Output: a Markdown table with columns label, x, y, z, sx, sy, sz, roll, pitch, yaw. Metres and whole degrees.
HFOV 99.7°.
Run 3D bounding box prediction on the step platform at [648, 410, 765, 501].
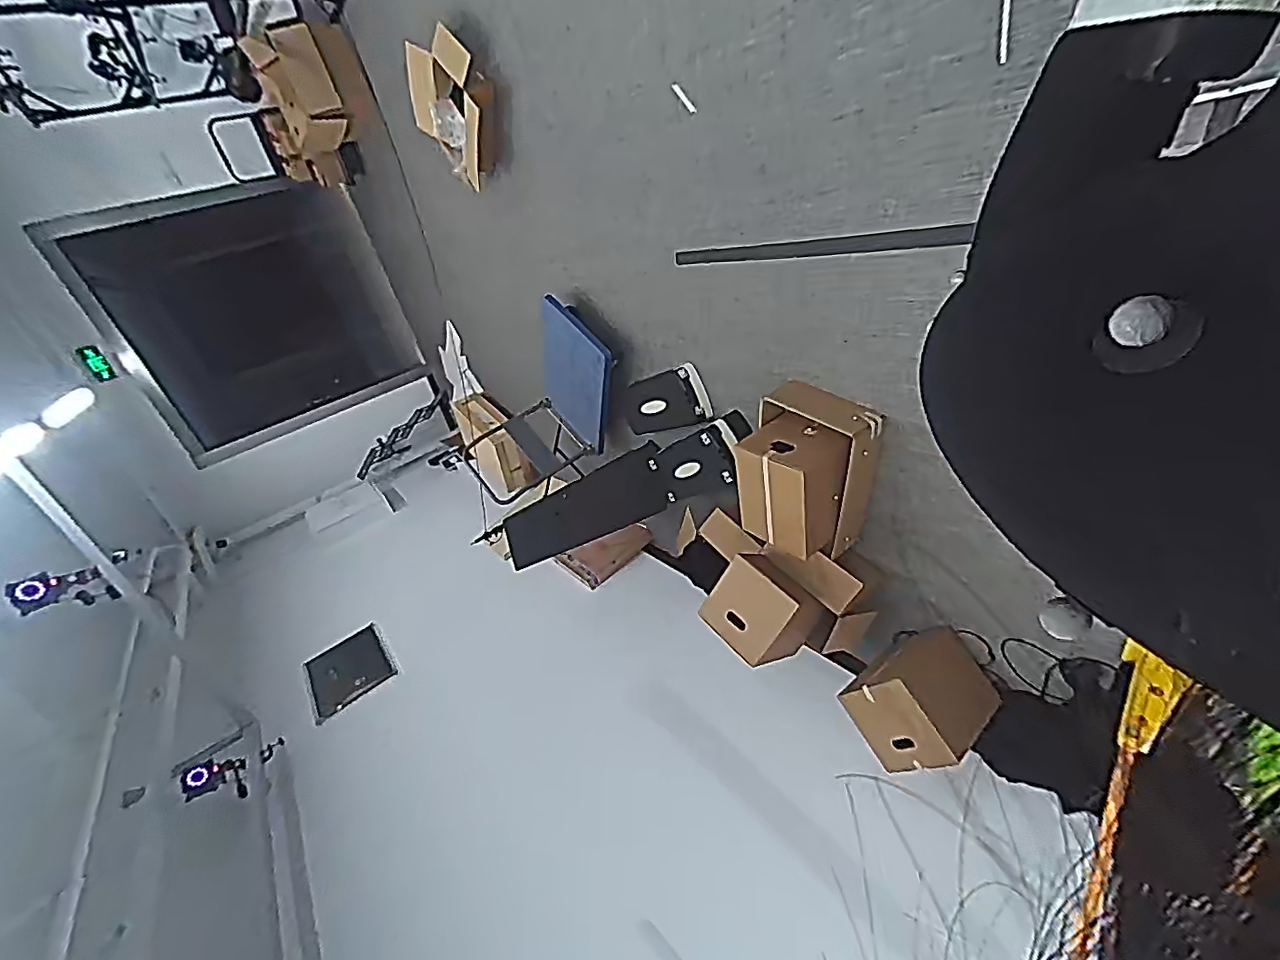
| label | x | y | z | sx | sy | sz | roll | pitch | yaw |
| --- | --- | --- | --- | --- | --- | --- | --- | --- | --- |
| step platform | 0.295 | -0.100 | 2.653 | 0.286 | 0.204 | 0.684 | 60 | 153 | -2 |
